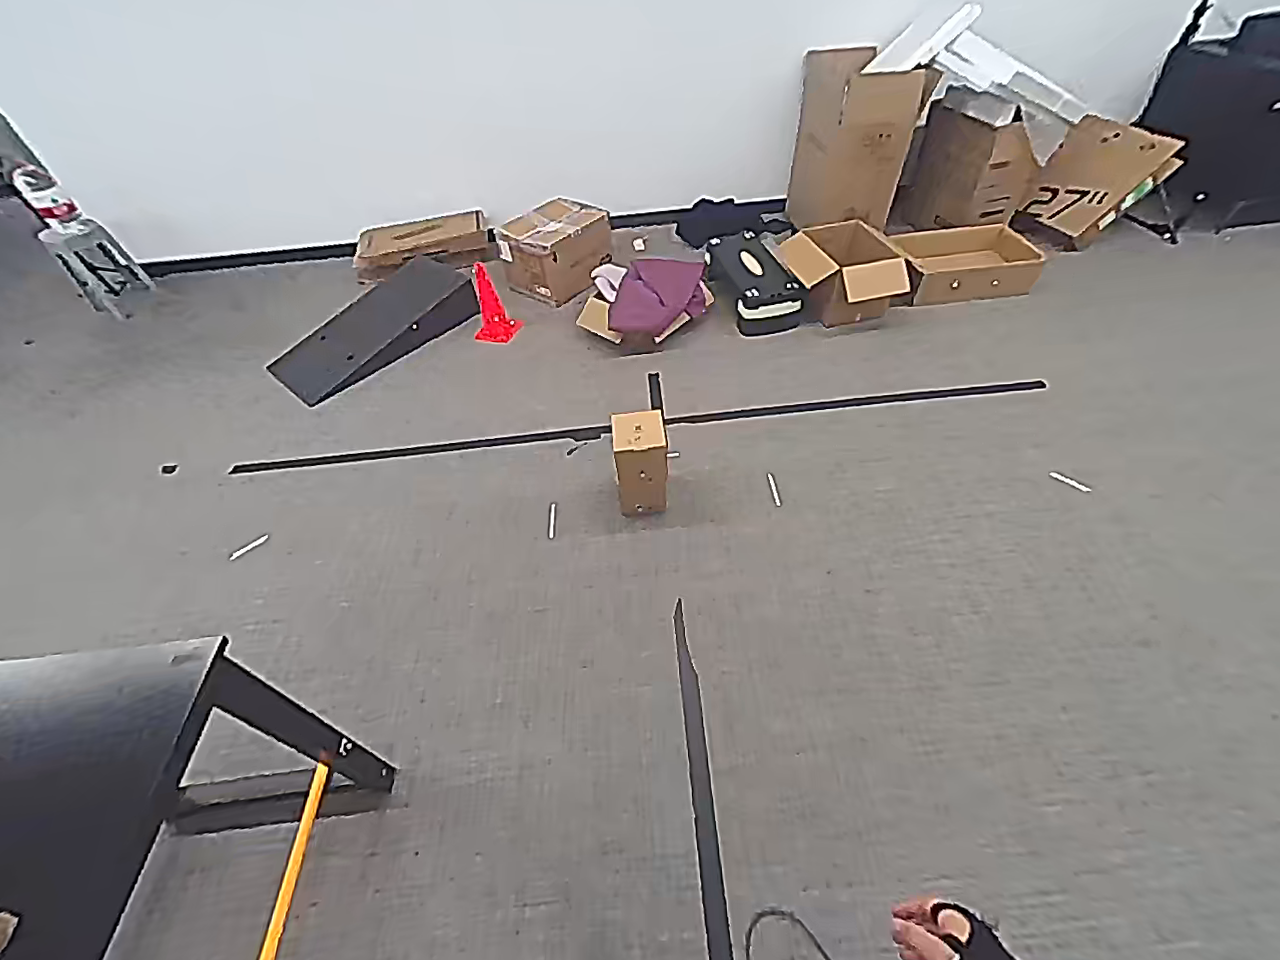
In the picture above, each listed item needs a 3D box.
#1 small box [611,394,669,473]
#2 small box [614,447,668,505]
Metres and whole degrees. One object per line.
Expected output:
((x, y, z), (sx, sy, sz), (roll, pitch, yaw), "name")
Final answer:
((0.000, -0.145, 1.699), (0.168, 0.176, 0.179), (-7, 48, 0), "small box")
((0.003, -0.040, 1.827), (0.168, 0.176, 0.179), (-7, 49, 0), "small box")
